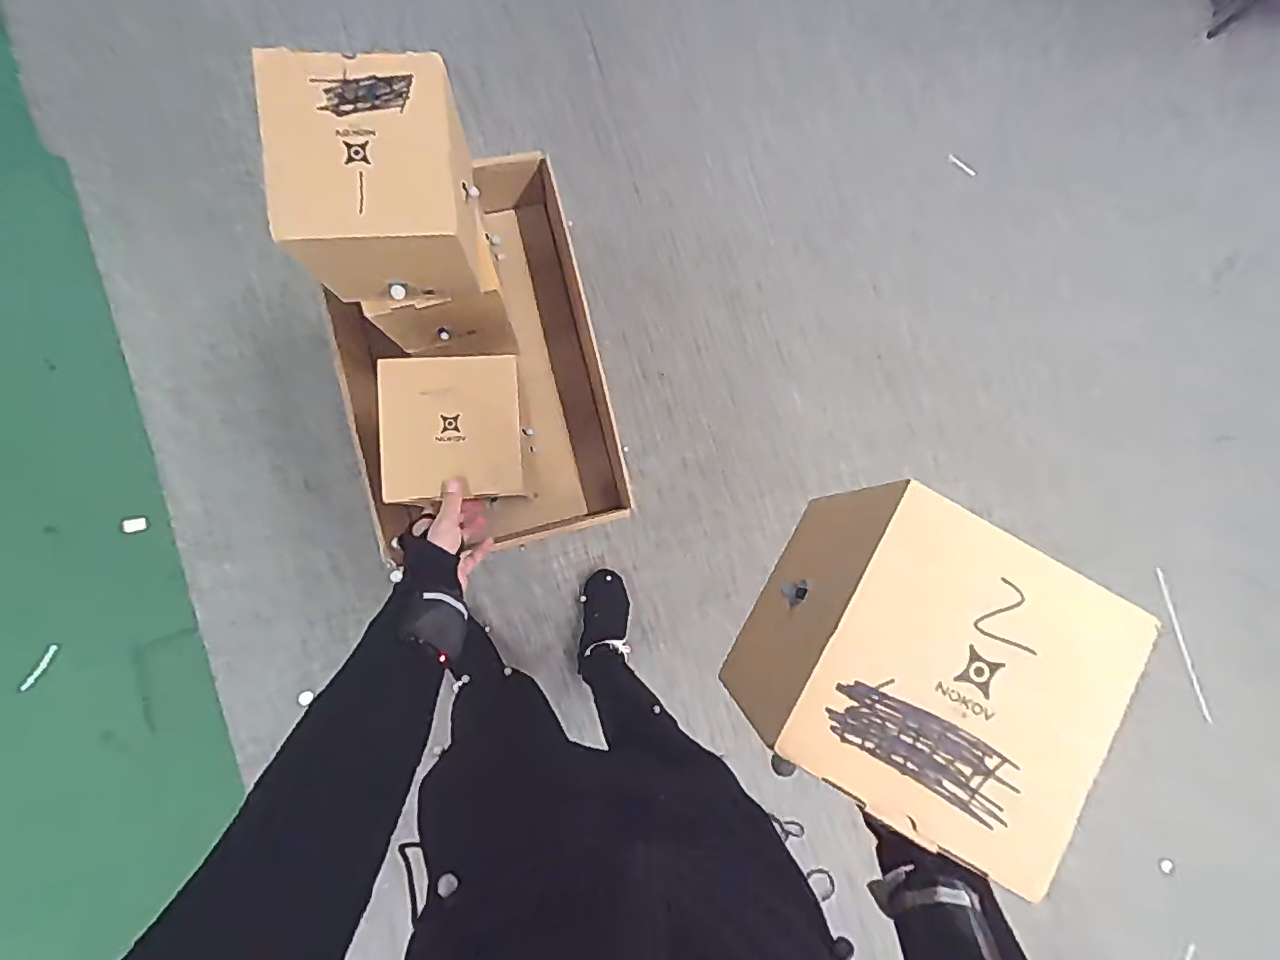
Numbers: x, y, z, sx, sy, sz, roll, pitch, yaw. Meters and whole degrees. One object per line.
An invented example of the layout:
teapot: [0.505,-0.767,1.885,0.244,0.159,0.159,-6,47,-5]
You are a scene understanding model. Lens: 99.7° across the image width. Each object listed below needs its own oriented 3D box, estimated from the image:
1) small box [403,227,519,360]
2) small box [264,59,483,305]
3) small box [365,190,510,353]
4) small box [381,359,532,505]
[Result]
small box: [-0.308,-0.292,0.911,0.168,0.176,0.179,-14,90,-7]
small box: [-0.271,-0.306,0.587,0.168,0.176,0.179,-5,90,-8]
small box: [-0.287,-0.296,0.751,0.168,0.176,0.179,-15,90,-8]
small box: [-0.238,-0.056,0.737,0.168,0.176,0.179,-3,85,-8]
